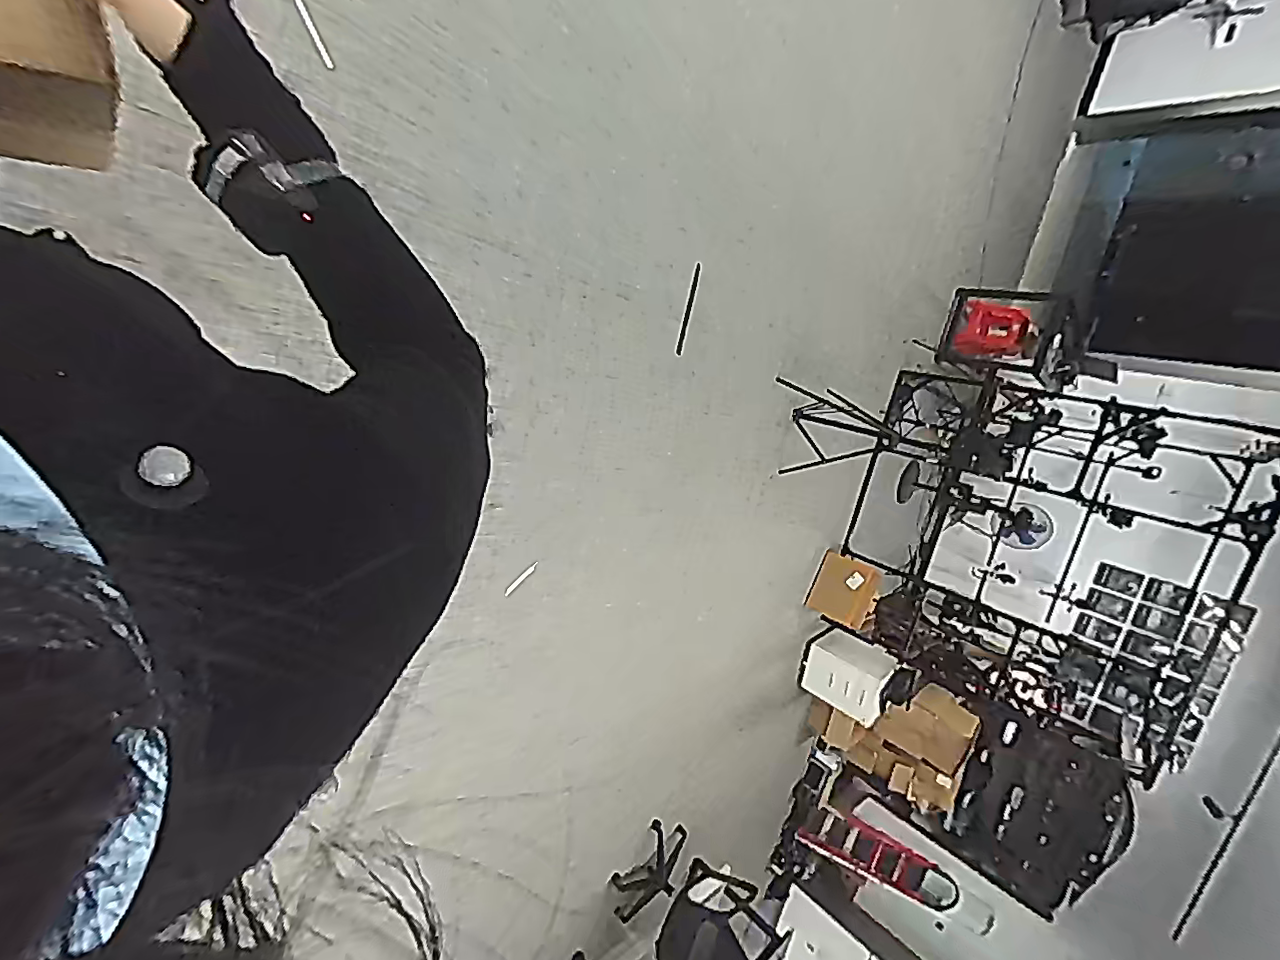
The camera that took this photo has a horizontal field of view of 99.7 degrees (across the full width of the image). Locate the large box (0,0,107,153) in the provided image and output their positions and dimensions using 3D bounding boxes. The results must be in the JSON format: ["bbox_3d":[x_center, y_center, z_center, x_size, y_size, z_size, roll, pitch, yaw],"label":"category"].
[{"bbox_3d":[-0.594,-0.400,0.280,0.408,0.320,0.320,-15,112,-41],"label":"large box"}]
